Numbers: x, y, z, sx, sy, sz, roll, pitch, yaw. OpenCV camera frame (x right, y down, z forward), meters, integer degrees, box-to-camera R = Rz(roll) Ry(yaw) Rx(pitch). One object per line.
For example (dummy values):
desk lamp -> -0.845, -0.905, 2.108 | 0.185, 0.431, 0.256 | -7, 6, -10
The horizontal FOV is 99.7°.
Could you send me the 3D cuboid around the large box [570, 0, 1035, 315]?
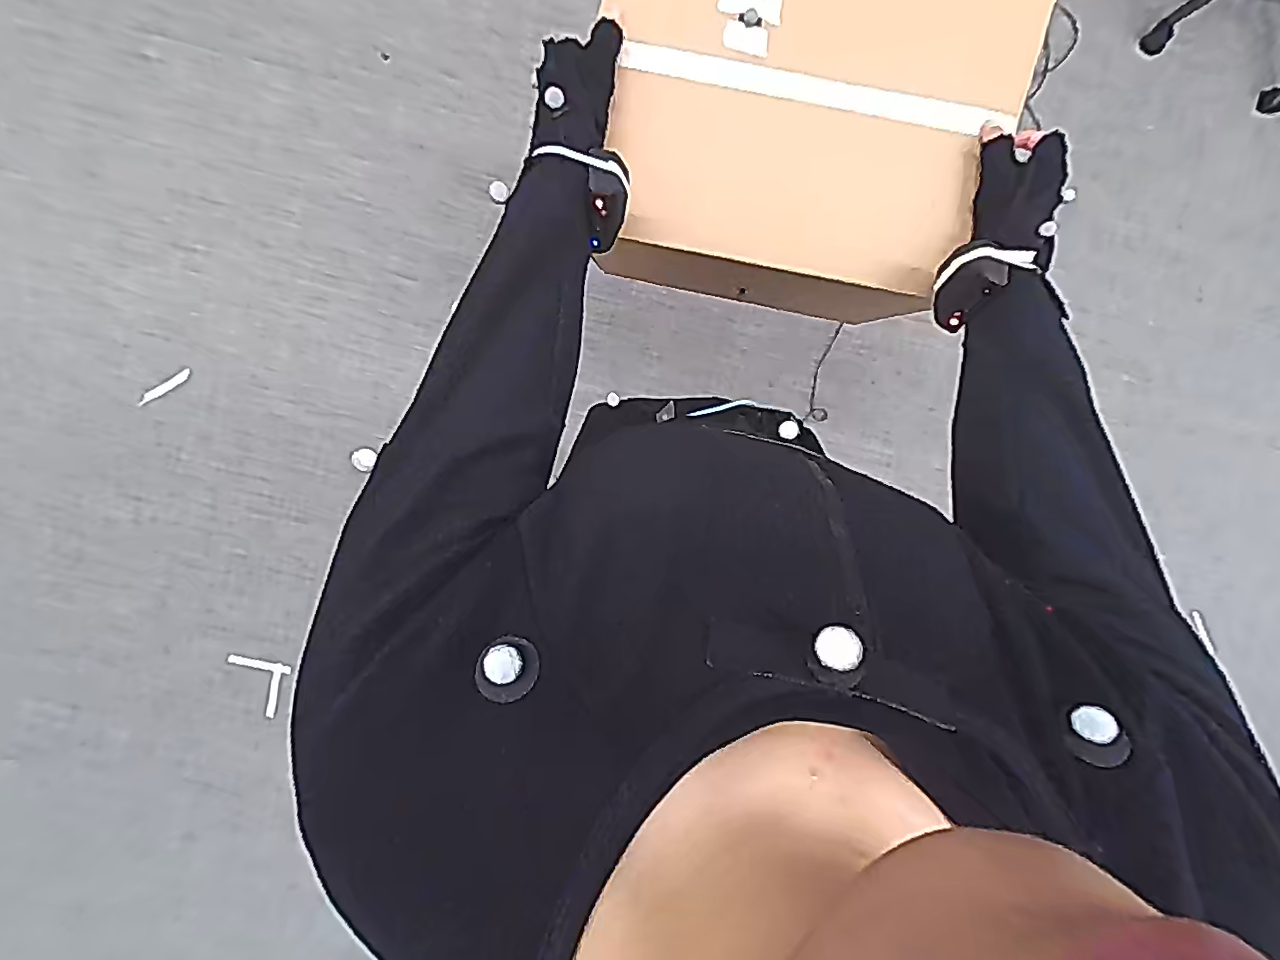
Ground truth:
large box -> 0.157, -0.401, 0.668 | 0.408, 0.320, 0.320 | 11, 102, 0
